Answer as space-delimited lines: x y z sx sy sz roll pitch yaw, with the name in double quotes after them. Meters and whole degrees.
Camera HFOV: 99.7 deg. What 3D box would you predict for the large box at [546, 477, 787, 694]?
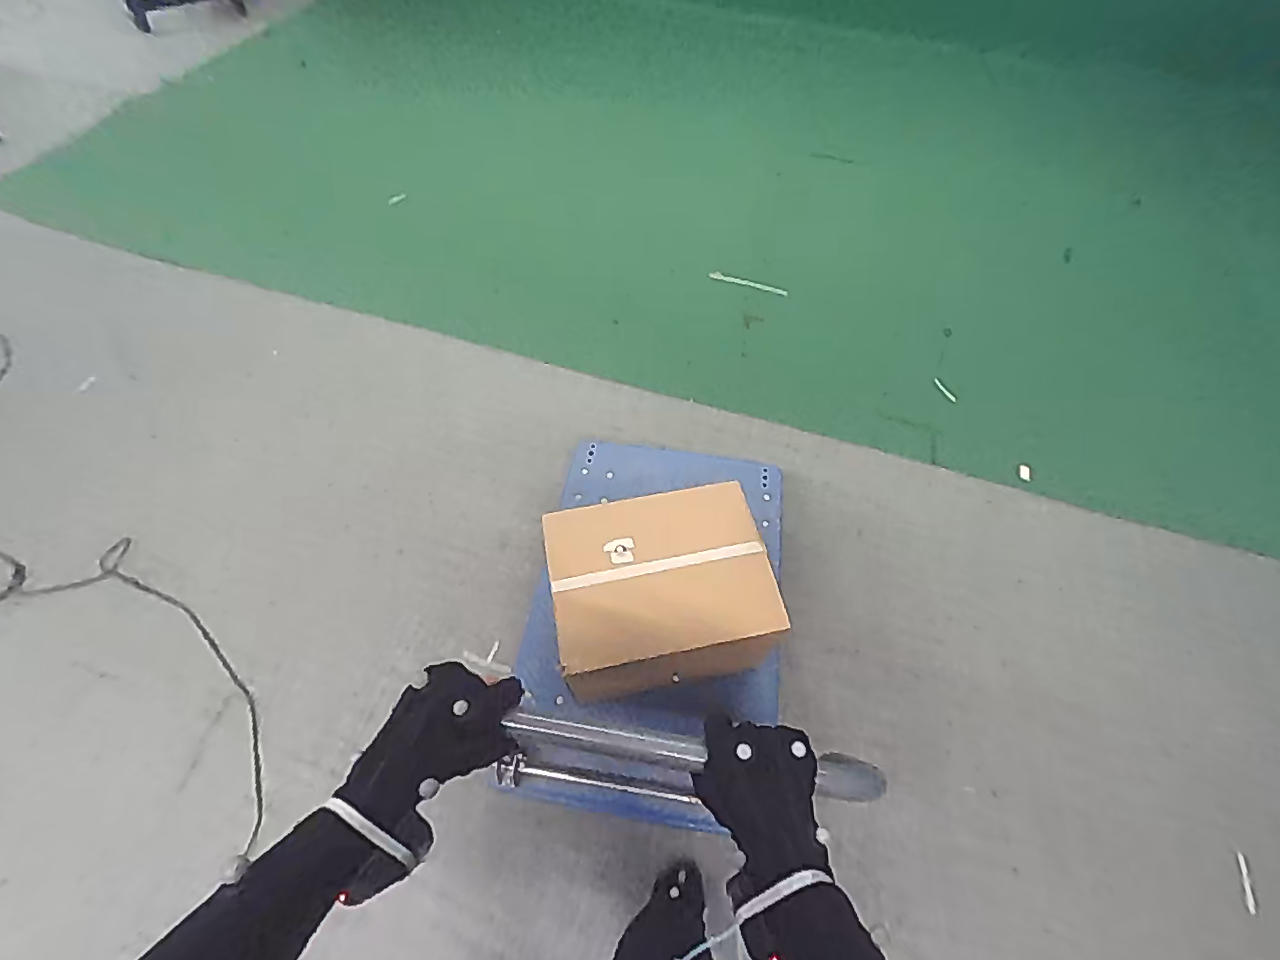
0.039 0.231 1.138 0.408 0.320 0.320 -10 59 -6 "large box"
